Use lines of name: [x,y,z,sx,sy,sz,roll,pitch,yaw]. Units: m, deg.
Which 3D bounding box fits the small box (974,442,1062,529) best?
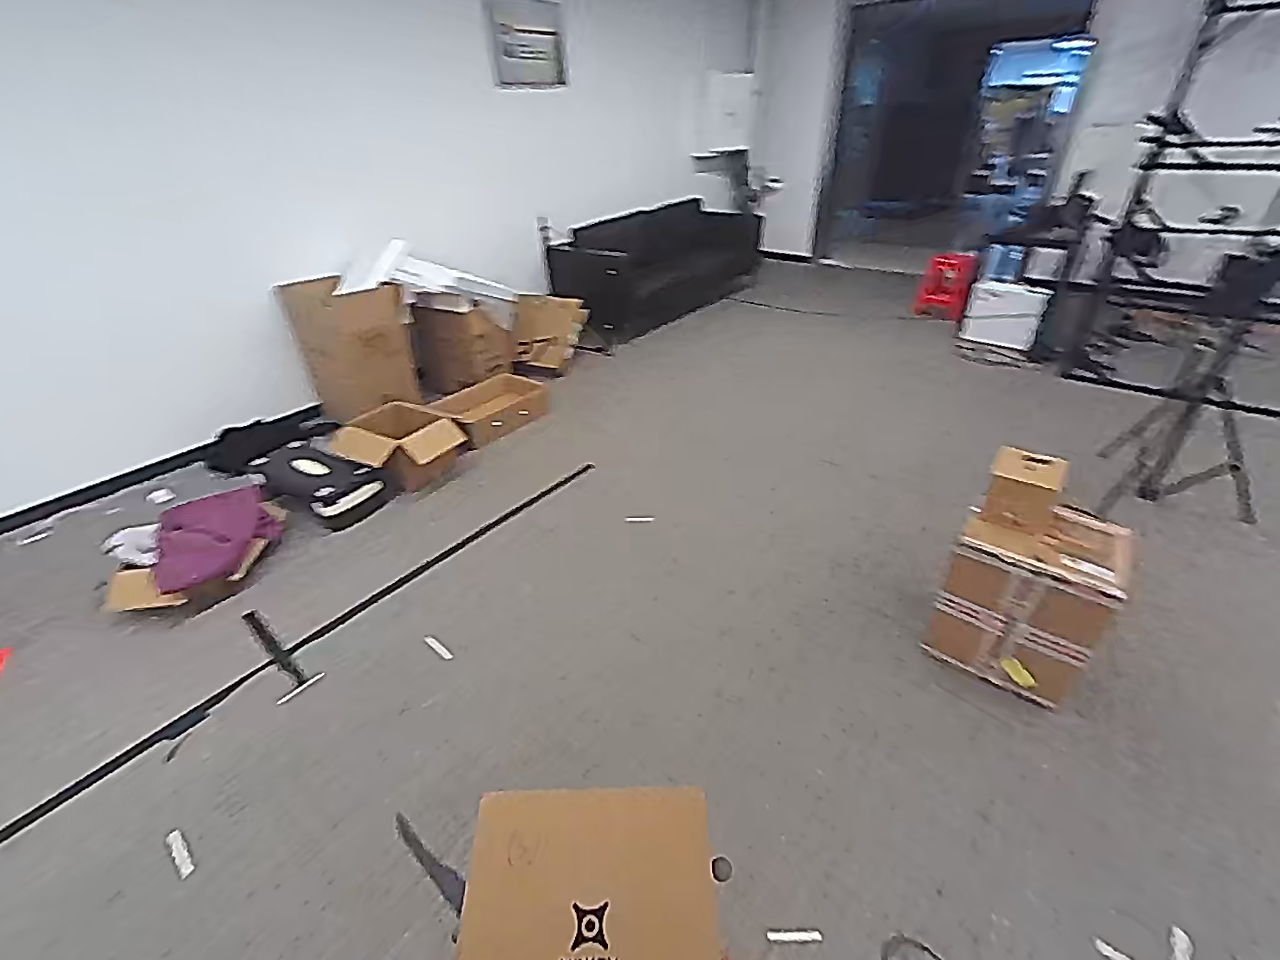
small box: [1.125,0.015,1.617,0.168,0.176,0.179,20,43,35]
